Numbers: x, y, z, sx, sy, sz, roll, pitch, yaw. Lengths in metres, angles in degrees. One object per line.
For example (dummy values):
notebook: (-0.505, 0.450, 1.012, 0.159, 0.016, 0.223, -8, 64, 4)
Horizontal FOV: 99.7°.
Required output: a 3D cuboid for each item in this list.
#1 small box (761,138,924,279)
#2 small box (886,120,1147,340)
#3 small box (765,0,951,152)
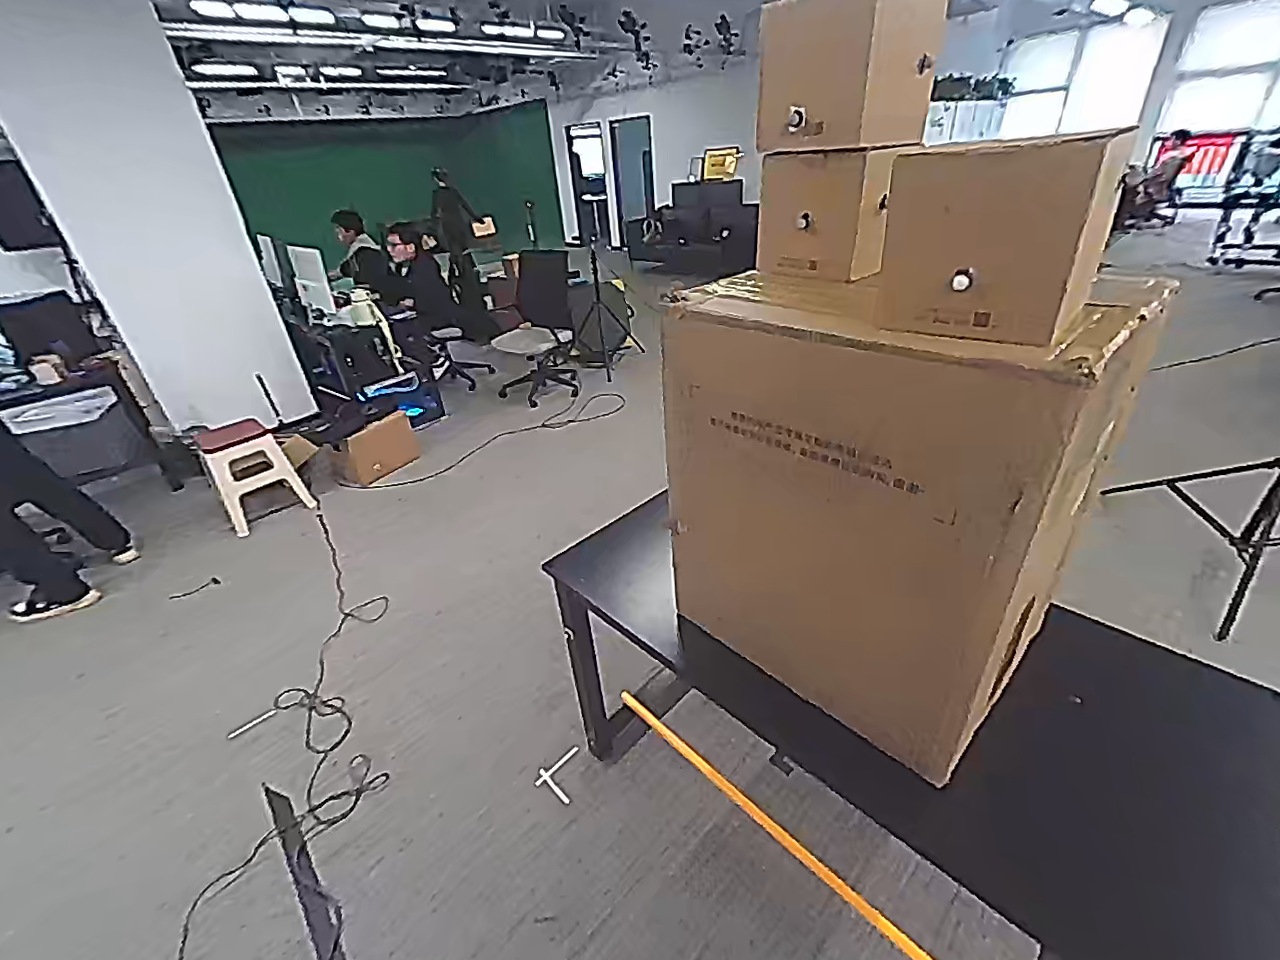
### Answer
small box: (0.301, -0.413, 0.824, 0.179, 0.176, 0.168, -29, 40, -34)
small box: (0.369, -0.255, 0.550, 0.168, 0.176, 0.179, 21, 41, 39)
small box: (0.282, -0.545, 0.729, 0.179, 0.176, 0.168, -28, 38, -33)
